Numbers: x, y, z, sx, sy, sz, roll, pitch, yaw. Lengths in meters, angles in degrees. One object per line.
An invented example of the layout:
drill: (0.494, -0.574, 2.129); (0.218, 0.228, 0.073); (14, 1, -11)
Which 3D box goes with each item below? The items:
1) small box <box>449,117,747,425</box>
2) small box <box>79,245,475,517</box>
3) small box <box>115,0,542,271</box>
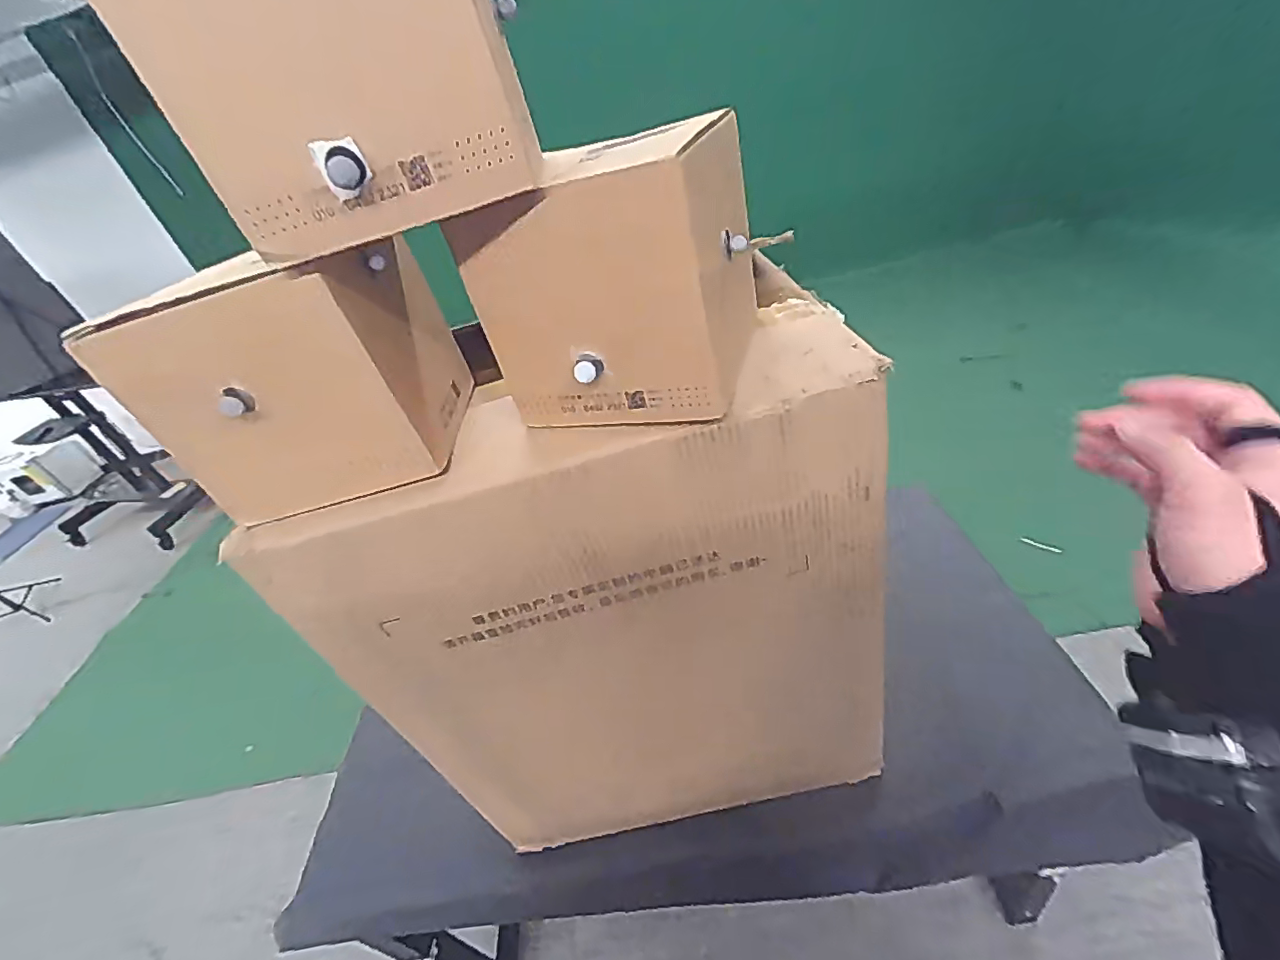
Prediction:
small box: (-0.015, -0.160, 0.429); (0.168, 0.176, 0.179); (0, 40, 23)
small box: (-0.265, -0.093, 0.449); (0.179, 0.176, 0.168); (-16, 37, 5)
small box: (-0.168, -0.251, 0.338); (0.168, 0.176, 0.179); (-18, 37, 2)
